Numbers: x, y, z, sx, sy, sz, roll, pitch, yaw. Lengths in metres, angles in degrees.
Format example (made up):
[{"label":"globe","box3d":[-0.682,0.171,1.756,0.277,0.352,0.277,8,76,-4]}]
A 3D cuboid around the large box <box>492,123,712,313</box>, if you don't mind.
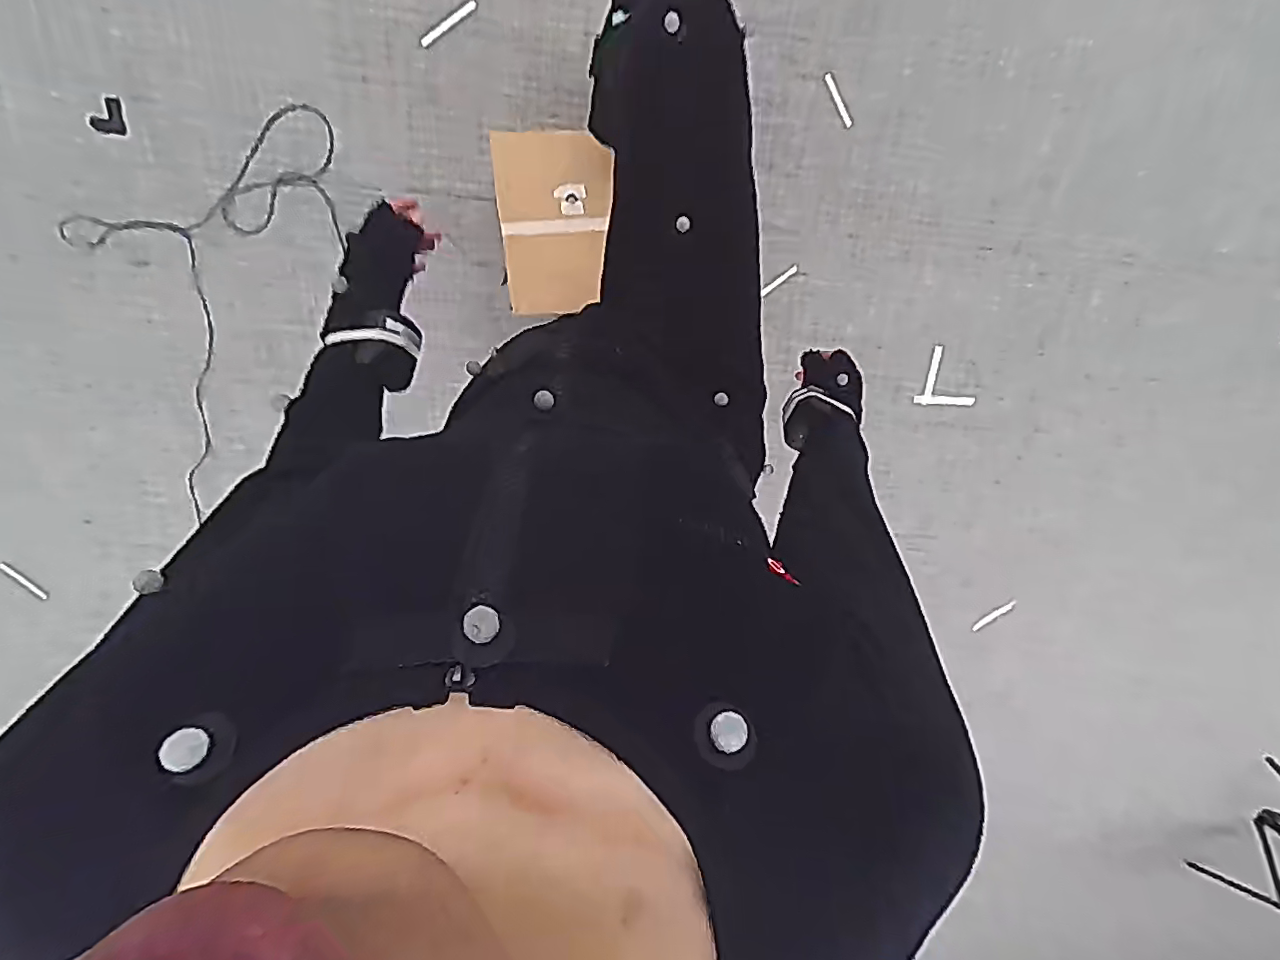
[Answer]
[{"label":"large box","box3d":[-0.068,-0.544,1.162,0.408,0.320,0.320,-3,112,-2]}]
